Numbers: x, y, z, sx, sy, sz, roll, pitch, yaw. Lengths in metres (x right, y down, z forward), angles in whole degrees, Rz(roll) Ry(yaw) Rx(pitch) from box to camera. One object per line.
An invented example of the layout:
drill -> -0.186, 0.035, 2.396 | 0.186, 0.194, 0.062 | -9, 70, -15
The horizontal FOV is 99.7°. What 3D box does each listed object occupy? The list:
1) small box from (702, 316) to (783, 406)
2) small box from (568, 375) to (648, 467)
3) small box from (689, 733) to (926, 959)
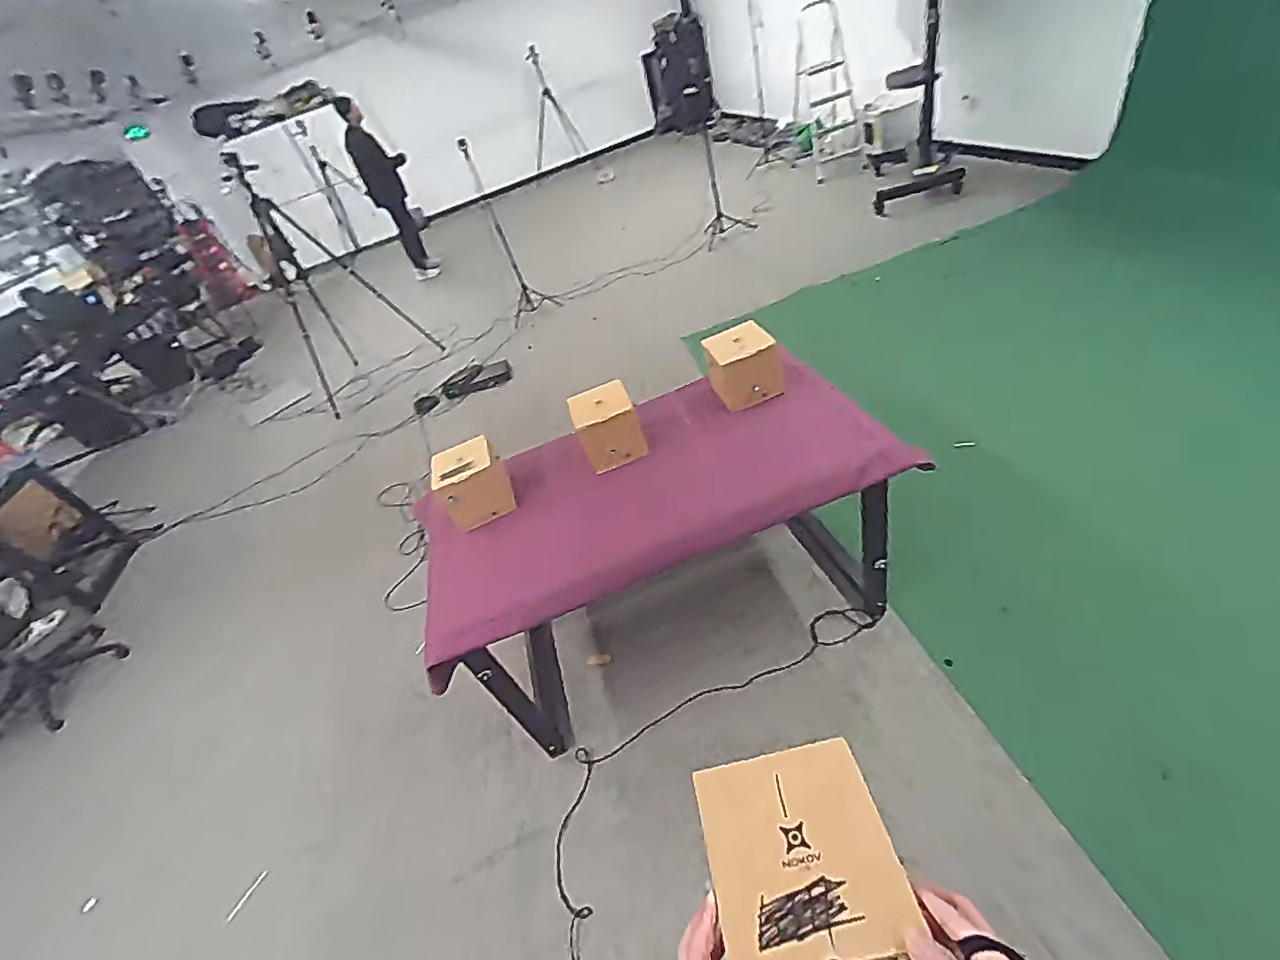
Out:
small box -> 0.298, -0.343, 1.570 | 0.168, 0.176, 0.179 | -23, 41, 1
small box -> -0.092, -0.167, 1.542 | 0.168, 0.176, 0.179 | -22, 41, -2
small box -> 0.158, 0.394, 0.542 | 0.168, 0.176, 0.179 | -15, 37, 2
